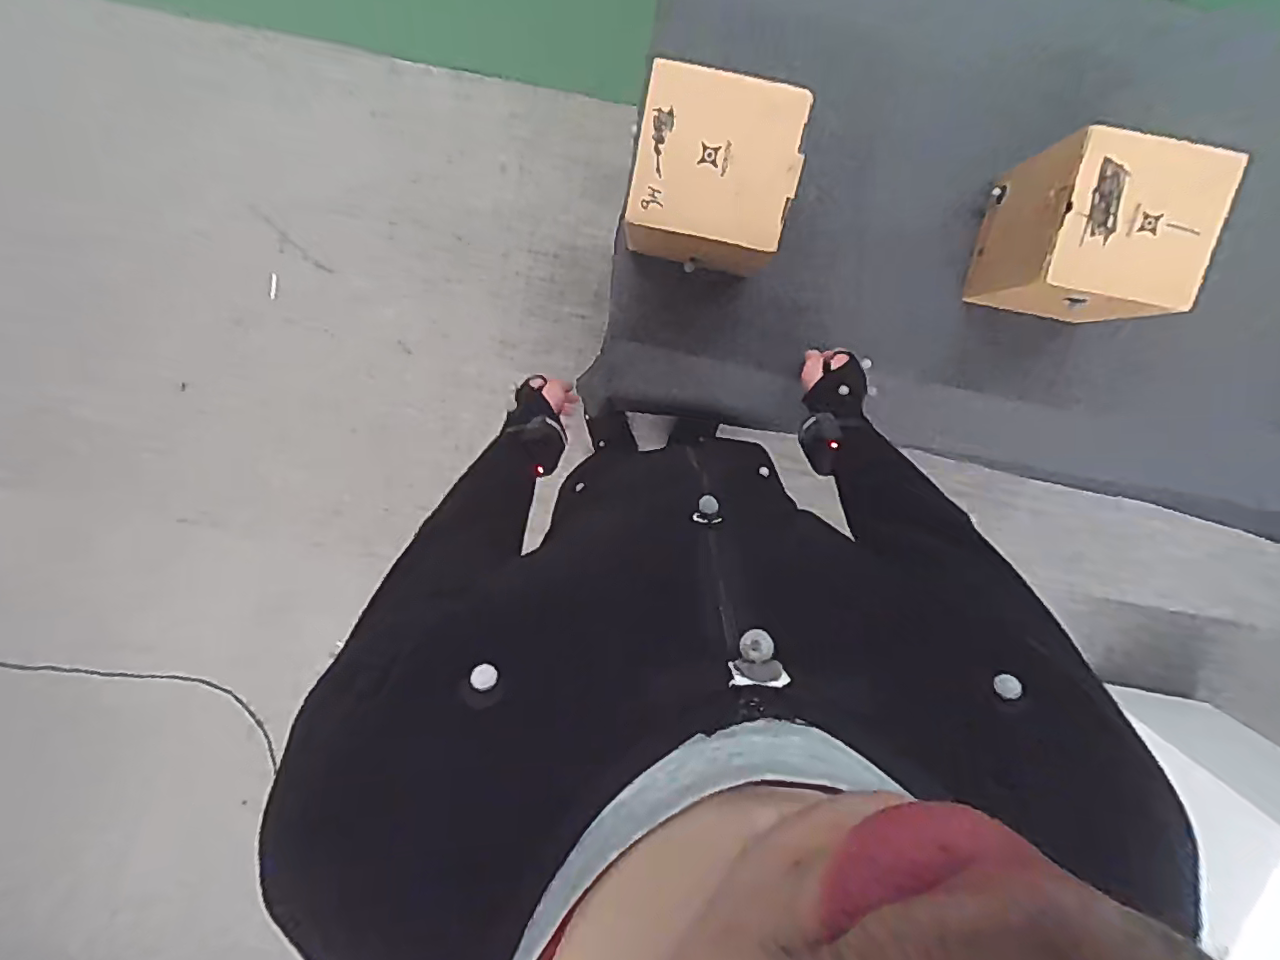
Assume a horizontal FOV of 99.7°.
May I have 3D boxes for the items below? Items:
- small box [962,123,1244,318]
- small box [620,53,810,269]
[{"bbox_3d":[0.541,-0.300,0.665,0.179,0.176,0.168,11,103,-3],"label":"small box"},{"bbox_3d":[0.078,-0.366,0.658,0.179,0.176,0.168,12,103,-3],"label":"small box"}]
